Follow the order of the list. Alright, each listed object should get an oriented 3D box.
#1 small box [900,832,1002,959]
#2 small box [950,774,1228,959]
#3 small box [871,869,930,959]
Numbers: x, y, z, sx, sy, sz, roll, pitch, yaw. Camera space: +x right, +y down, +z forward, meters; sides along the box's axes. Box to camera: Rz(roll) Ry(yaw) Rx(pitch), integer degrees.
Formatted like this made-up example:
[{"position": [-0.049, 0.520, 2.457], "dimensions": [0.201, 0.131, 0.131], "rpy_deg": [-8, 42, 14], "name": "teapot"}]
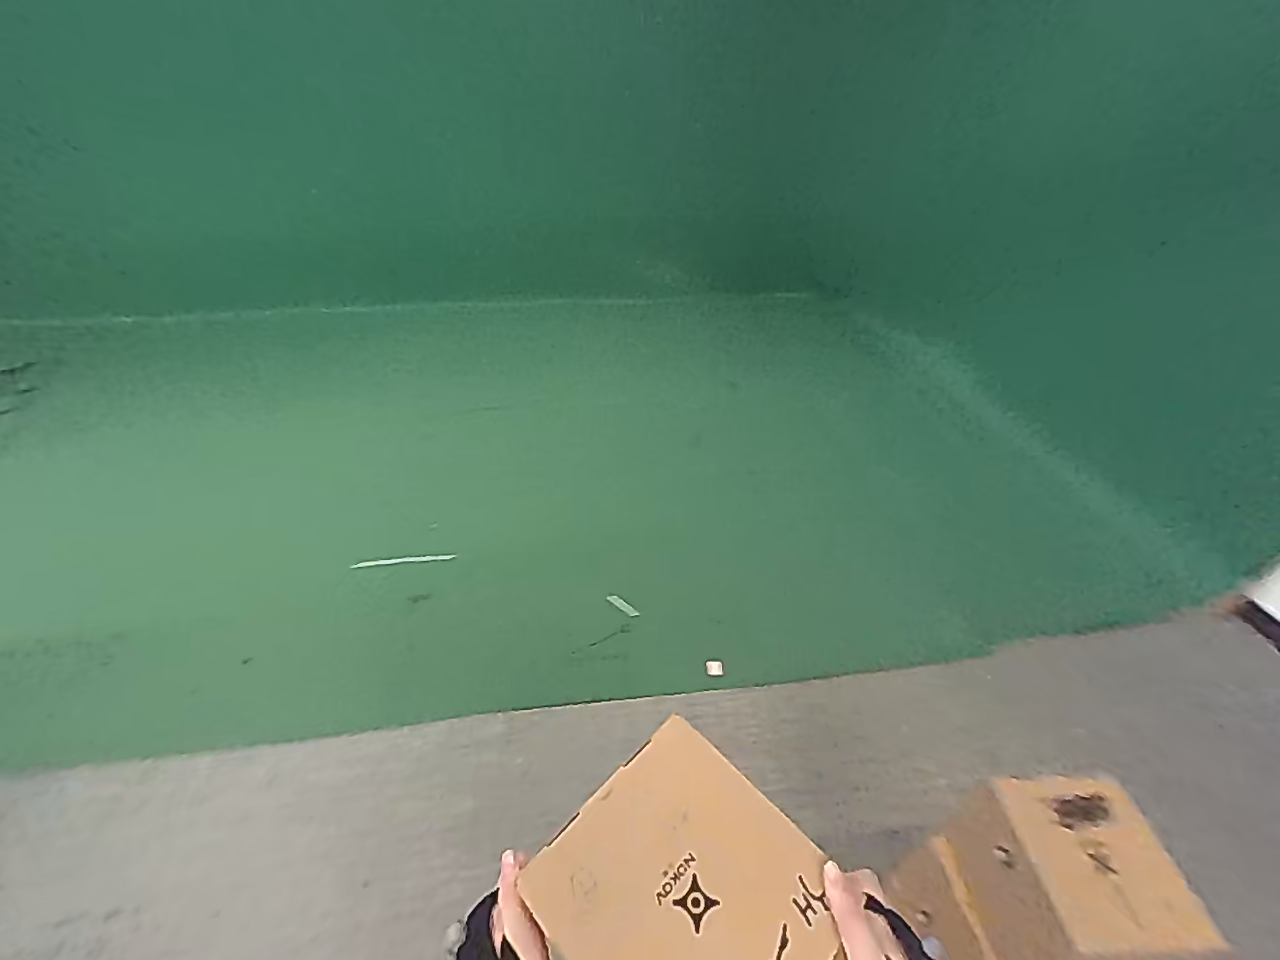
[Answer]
[{"position": [0.514, 0.621, 0.778], "dimensions": [0.179, 0.176, 0.168], "rpy_deg": [-3, 40, -6], "name": "small box"}, {"position": [0.527, 0.493, 0.674], "dimensions": [0.168, 0.176, 0.179], "rpy_deg": [0, 40, -2], "name": "small box"}, {"position": [0.510, 0.749, 0.878], "dimensions": [0.168, 0.176, 0.179], "rpy_deg": [-3, 40, -8], "name": "small box"}]
